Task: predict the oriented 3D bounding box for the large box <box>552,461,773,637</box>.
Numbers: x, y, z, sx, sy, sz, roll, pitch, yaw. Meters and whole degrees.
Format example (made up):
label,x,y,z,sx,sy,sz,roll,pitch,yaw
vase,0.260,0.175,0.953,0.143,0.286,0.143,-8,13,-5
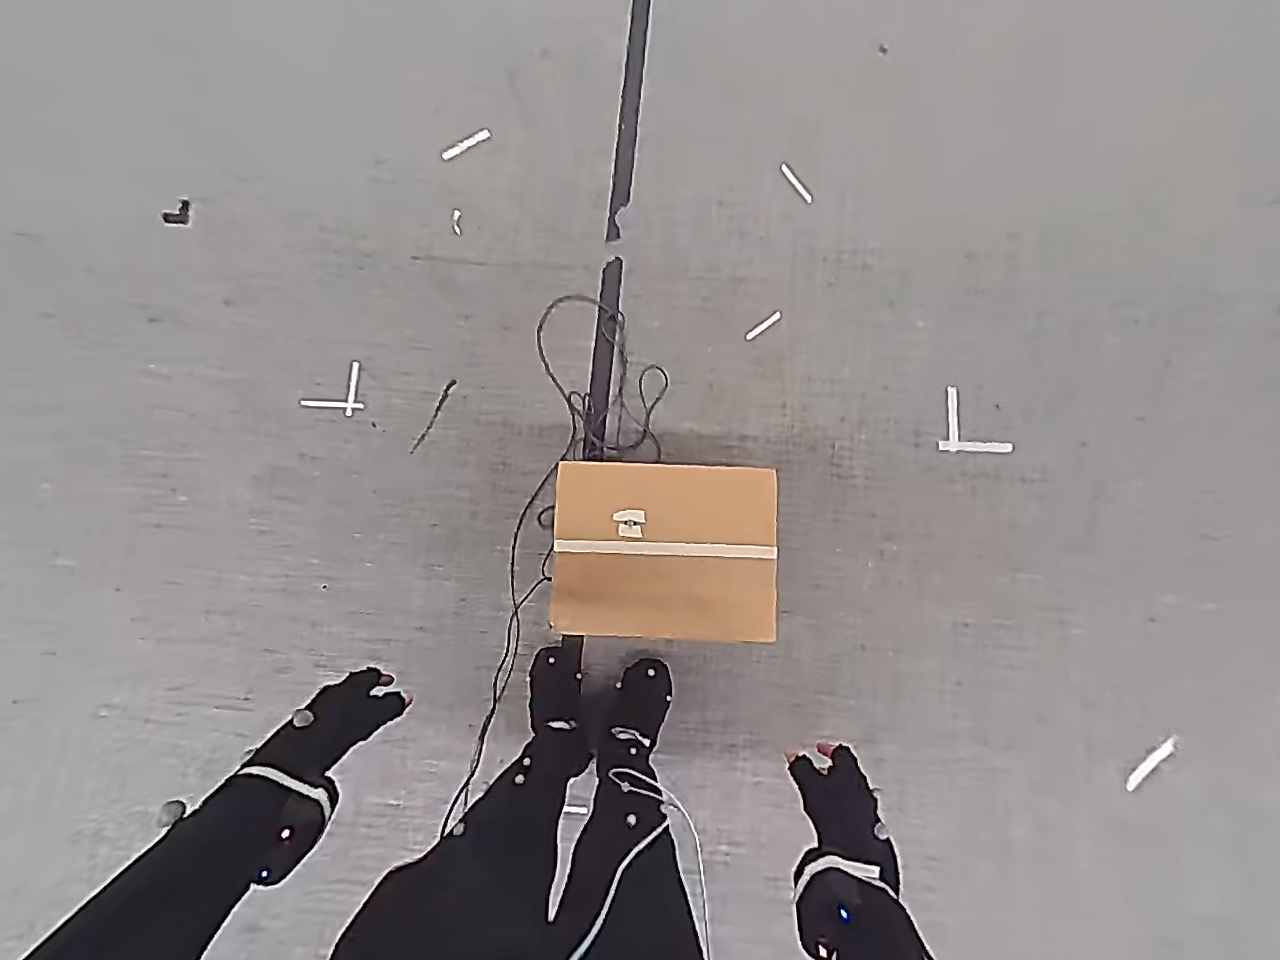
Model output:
label,x,y,z,sx,sy,sz,roll,pitch,yaw
large box,0.048,0.140,1.133,0.408,0.320,0.320,3,81,2
